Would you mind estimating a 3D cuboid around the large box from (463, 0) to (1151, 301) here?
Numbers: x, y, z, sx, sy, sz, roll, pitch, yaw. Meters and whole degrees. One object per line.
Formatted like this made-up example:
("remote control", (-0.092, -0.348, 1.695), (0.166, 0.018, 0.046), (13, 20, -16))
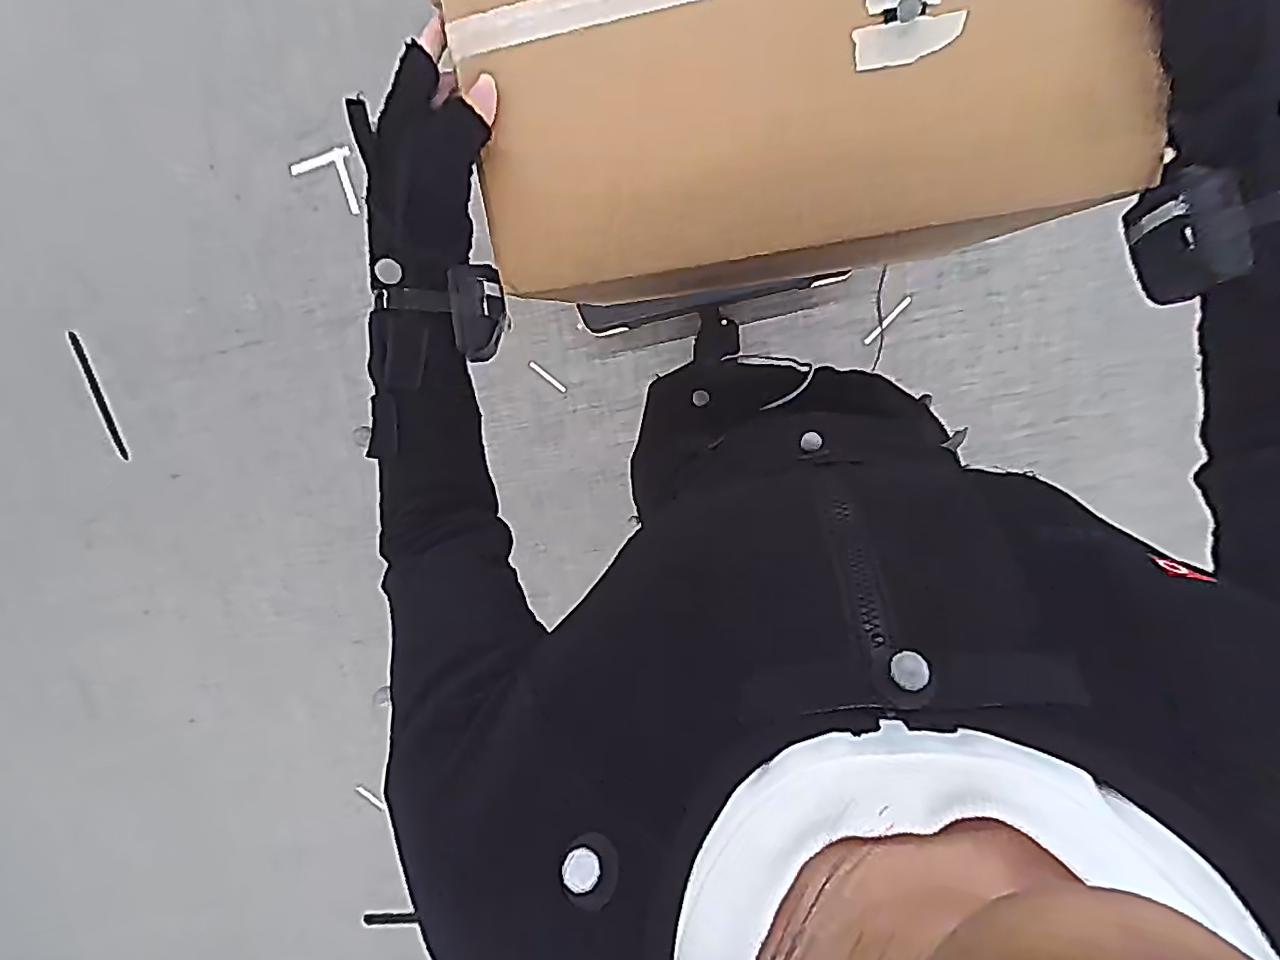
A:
("large box", (0.102, -0.349, 0.462), (0.408, 0.320, 0.320), (-6, 106, 10))
